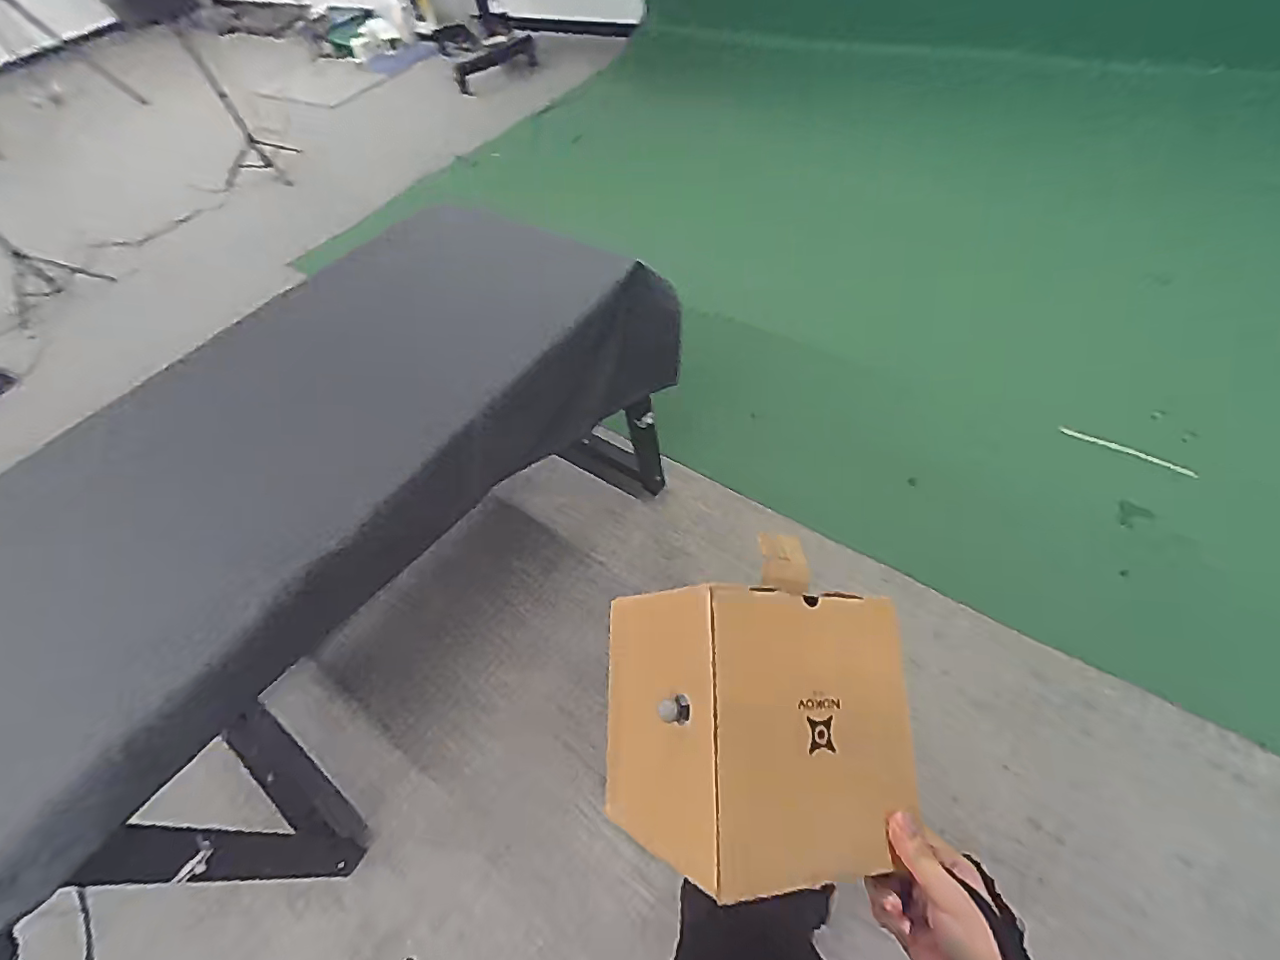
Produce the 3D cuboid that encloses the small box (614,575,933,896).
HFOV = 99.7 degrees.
[{"bbox_3d":[0.086,0.177,0.417,0.168,0.176,0.179,10,69,-23],"label":"small box"}]
